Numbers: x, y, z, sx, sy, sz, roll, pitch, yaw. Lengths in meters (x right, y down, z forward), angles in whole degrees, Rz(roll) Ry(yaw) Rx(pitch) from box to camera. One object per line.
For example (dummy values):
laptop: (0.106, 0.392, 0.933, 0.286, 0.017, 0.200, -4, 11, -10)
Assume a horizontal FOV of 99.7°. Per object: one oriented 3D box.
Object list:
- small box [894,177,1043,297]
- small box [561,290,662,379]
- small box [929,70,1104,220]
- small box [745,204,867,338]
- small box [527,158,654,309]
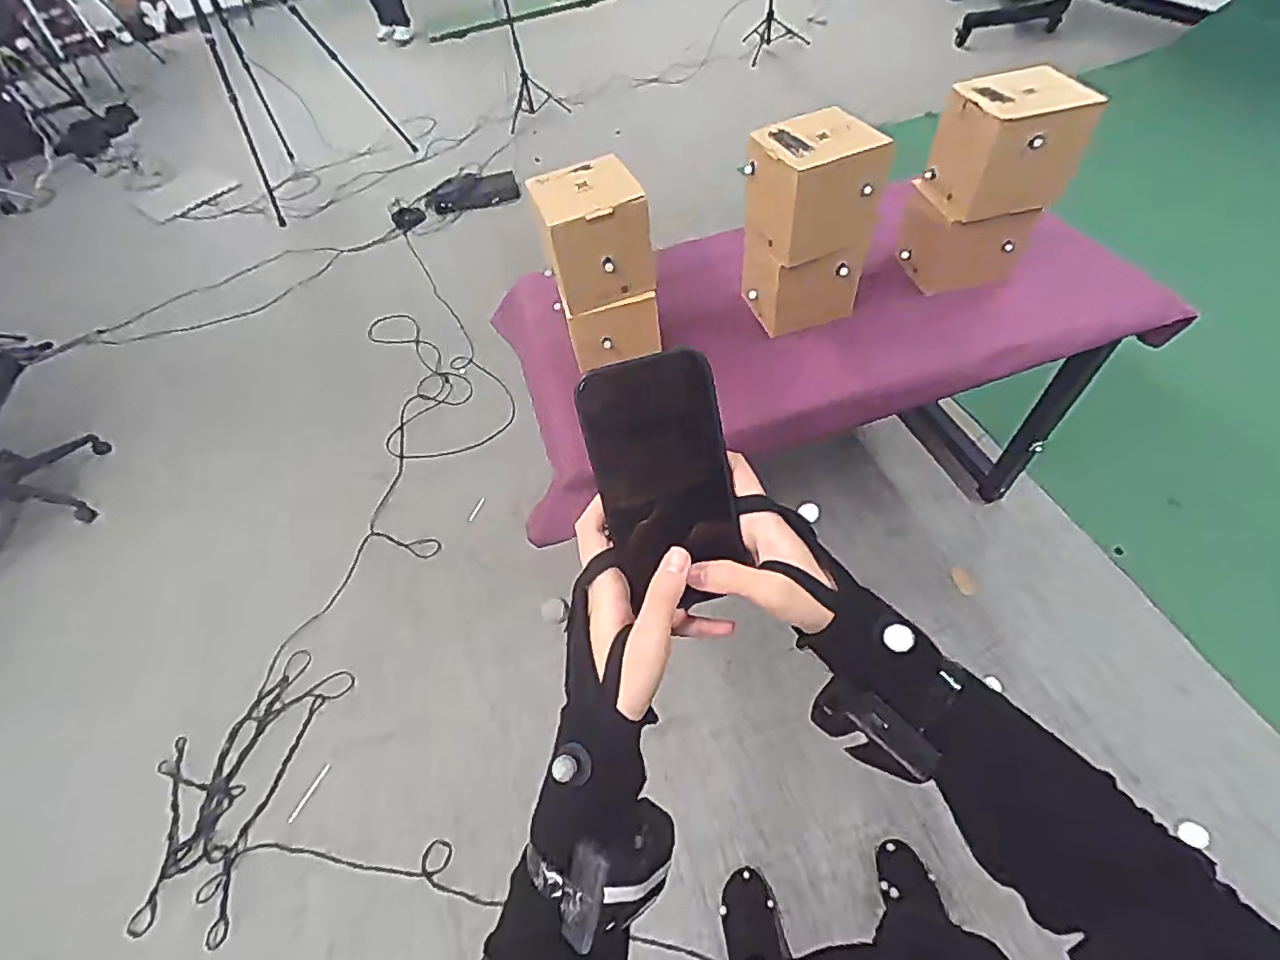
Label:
small box: (0.650, -0.500, 1.096, 0.179, 0.176, 0.168, -11, 53, 1)
small box: (-0.059, -0.321, 1.078, 0.168, 0.176, 0.179, -16, 54, -3)
small box: (0.642, -0.586, 0.957, 0.179, 0.176, 0.168, -11, 53, 0)
small box: (0.320, -0.416, 1.085, 0.179, 0.176, 0.168, -16, 53, -3)
small box: (-0.082, -0.423, 0.950, 0.168, 0.176, 0.179, -20, 55, -6)
